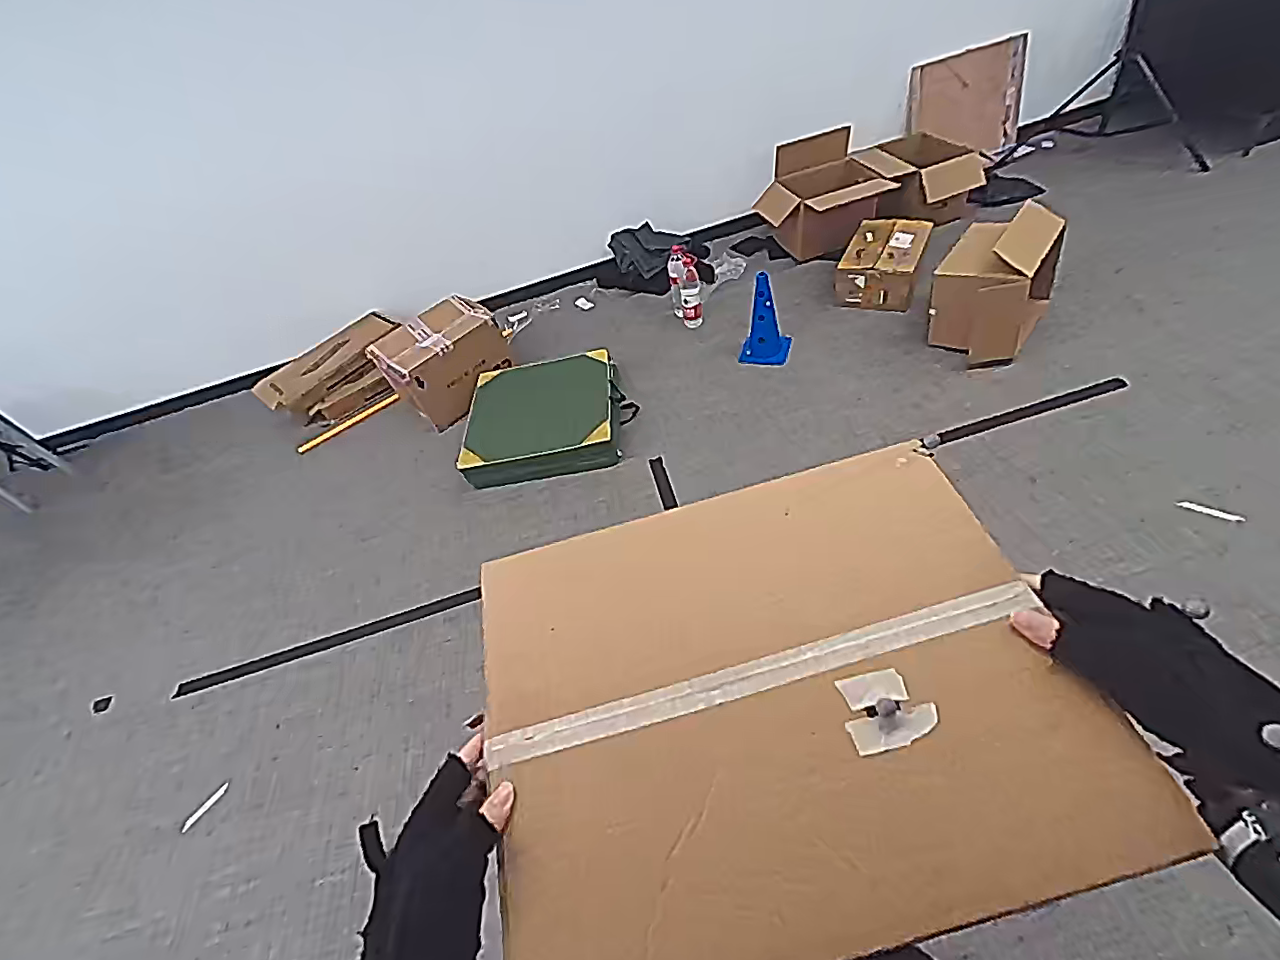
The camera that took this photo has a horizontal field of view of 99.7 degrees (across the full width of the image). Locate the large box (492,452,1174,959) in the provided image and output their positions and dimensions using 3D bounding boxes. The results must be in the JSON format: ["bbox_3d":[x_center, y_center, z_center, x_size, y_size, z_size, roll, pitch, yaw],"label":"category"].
[{"bbox_3d":[0.114,0.233,0.520,0.408,0.320,0.320,-17,54,-1],"label":"large box"}]
